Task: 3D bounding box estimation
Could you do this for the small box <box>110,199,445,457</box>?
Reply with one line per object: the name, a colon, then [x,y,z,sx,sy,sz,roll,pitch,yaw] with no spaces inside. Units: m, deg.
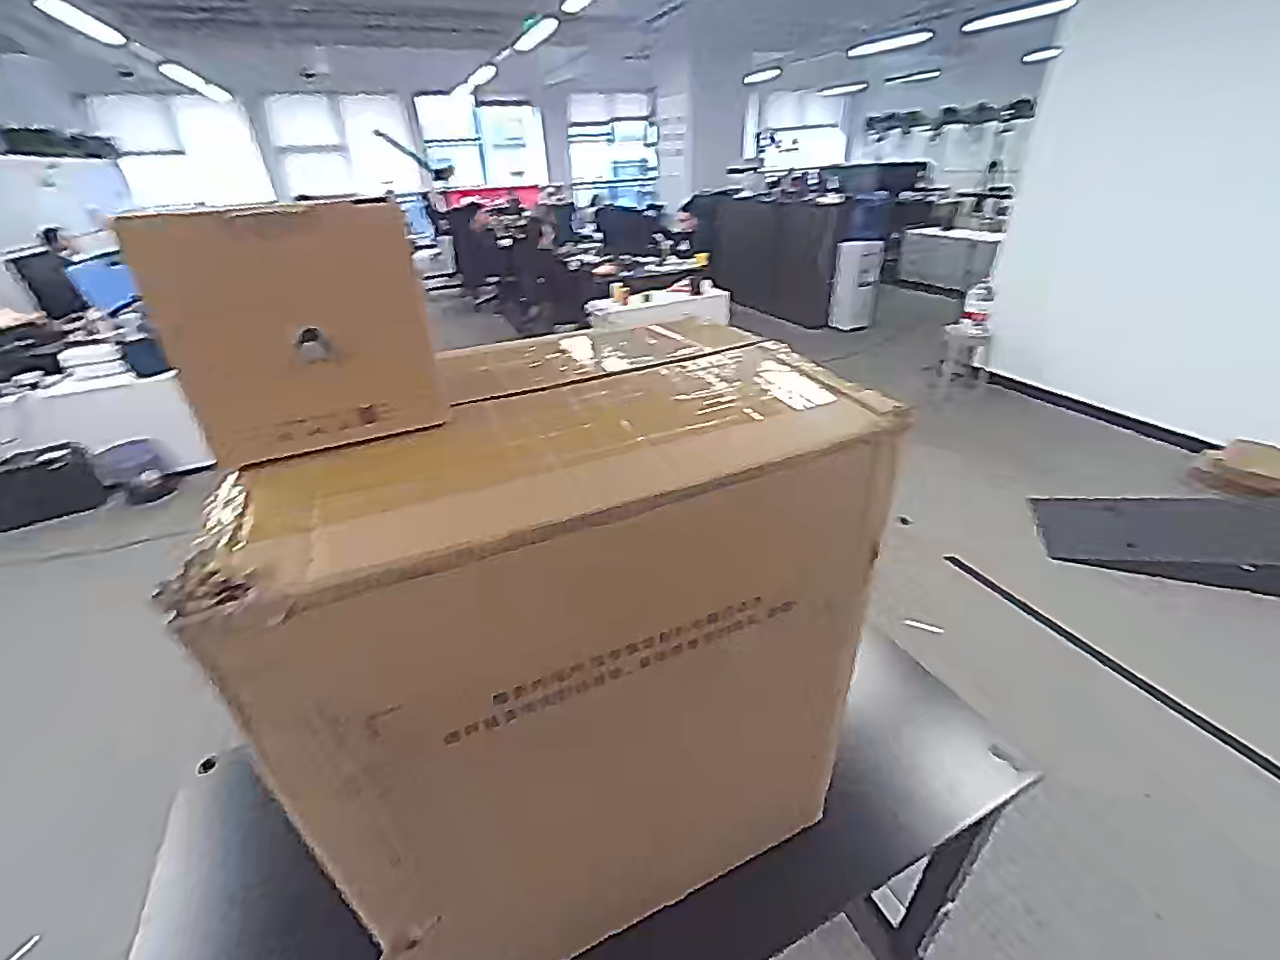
small box: [-0.274,-0.131,0.450,0.168,0.176,0.179,-17,32,-23]
